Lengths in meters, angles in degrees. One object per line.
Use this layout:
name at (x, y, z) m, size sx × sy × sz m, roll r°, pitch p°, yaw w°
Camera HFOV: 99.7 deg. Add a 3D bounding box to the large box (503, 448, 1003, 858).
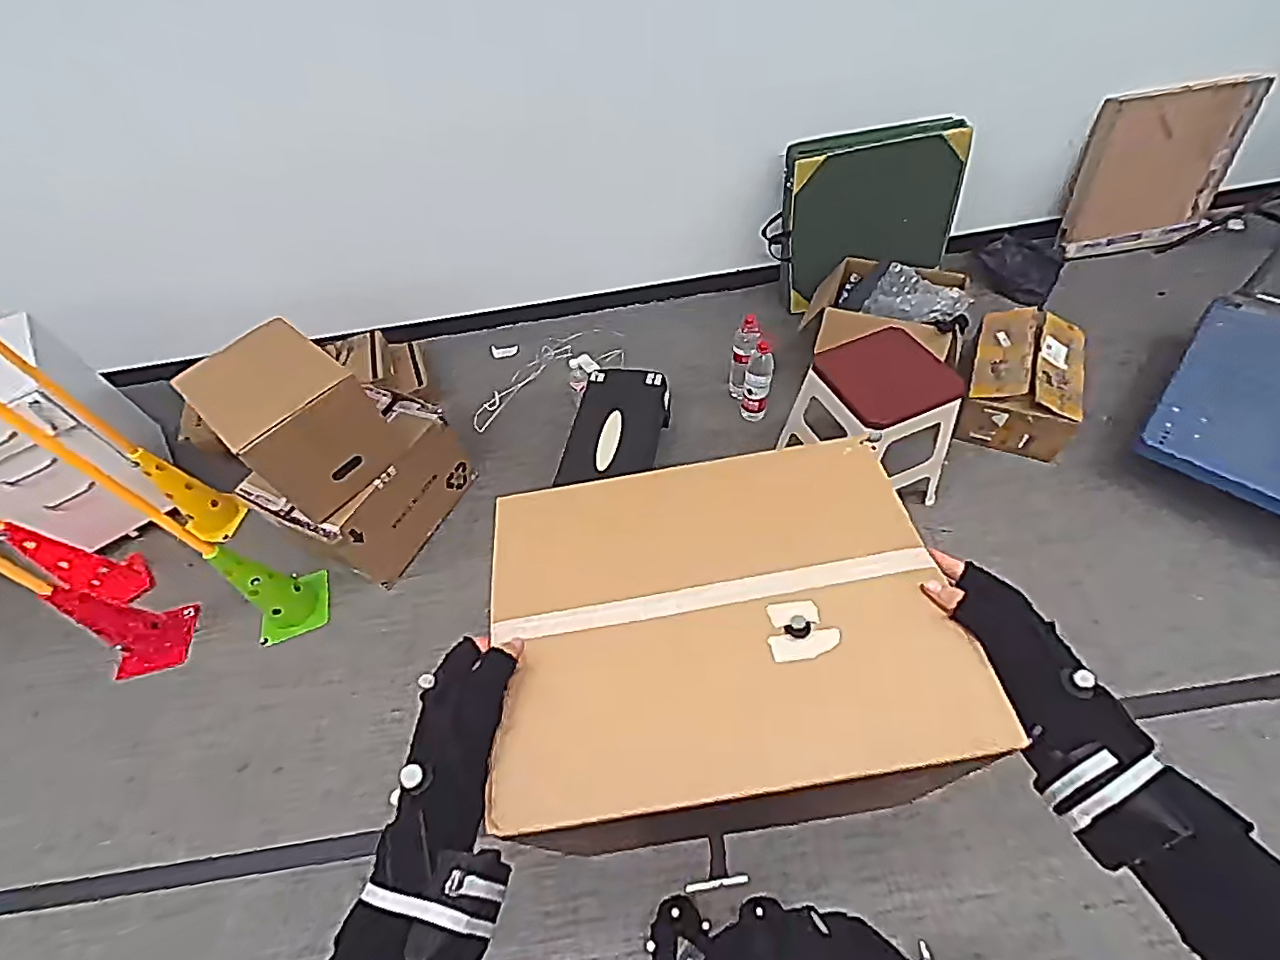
large box at (0.083, 0.207, 0.623) m, size 0.408 × 0.320 × 0.320 m, roll -10°, pitch 52°, yaw 0°
